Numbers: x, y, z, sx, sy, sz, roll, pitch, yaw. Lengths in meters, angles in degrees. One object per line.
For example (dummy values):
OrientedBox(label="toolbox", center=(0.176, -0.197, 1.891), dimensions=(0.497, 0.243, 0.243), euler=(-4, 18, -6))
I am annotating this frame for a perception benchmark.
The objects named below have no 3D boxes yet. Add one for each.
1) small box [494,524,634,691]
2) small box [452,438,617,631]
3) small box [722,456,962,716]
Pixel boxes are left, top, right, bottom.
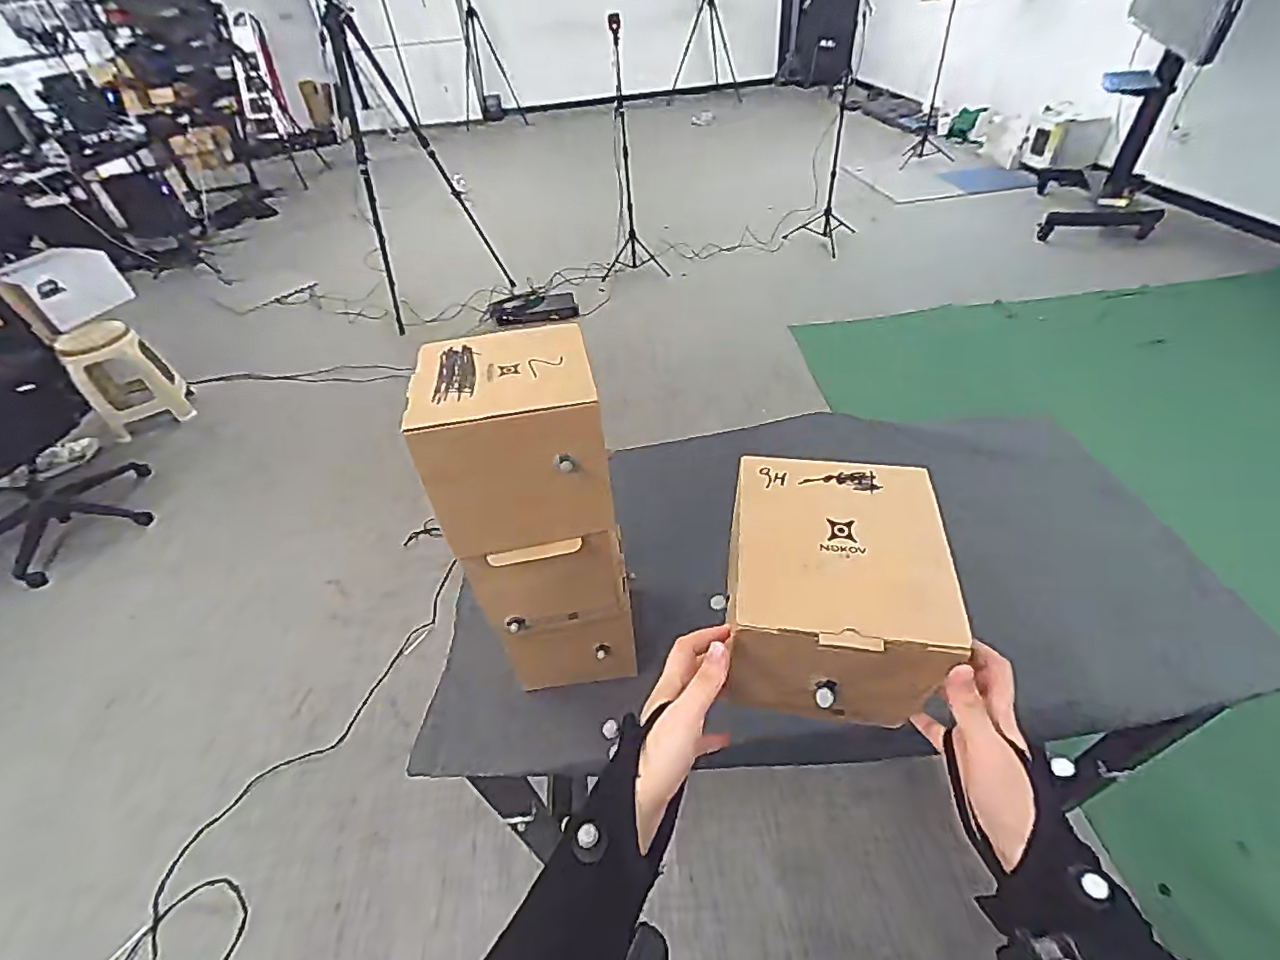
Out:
OrientedBox(label="small box", center=(-0.104, 0.192, 0.810), dimensions=(0.179, 0.176, 0.168), euler=(-9, 42, -1))
OrientedBox(label="small box", center=(-0.129, 0.074, 0.697), dimensions=(0.168, 0.176, 0.179), euler=(-11, 41, -5))
OrientedBox(label="small box", center=(0.163, 0.100, 0.498), dimensions=(0.168, 0.176, 0.179), euler=(3, 51, 9))
